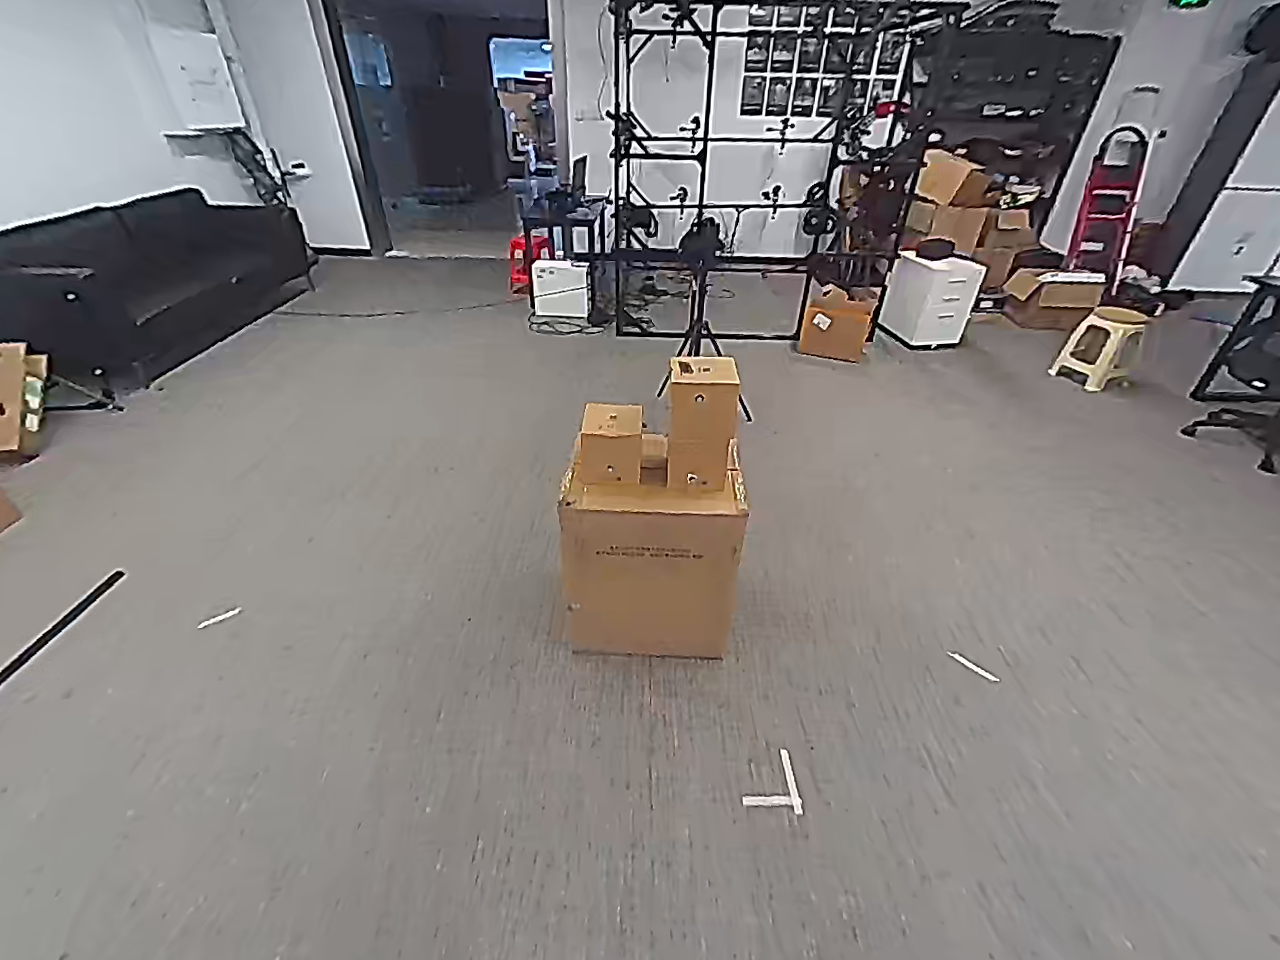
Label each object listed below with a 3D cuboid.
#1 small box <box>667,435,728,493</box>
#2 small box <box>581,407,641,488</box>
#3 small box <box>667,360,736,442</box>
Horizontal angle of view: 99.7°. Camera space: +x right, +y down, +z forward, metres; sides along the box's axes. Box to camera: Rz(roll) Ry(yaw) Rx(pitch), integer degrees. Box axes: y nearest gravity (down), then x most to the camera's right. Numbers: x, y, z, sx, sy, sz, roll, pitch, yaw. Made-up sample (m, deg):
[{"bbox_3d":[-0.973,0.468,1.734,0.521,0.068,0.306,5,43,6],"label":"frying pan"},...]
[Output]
[{"bbox_3d":[0.161,-0.080,1.565,0.168,0.176,0.179,0,36,2],"label":"small box"},{"bbox_3d":[-0.082,-0.096,1.578,0.168,0.176,0.179,1,35,-1],"label":"small box"},{"bbox_3d":[0.162,-0.214,1.469,0.179,0.176,0.168,0,35,2],"label":"small box"}]
